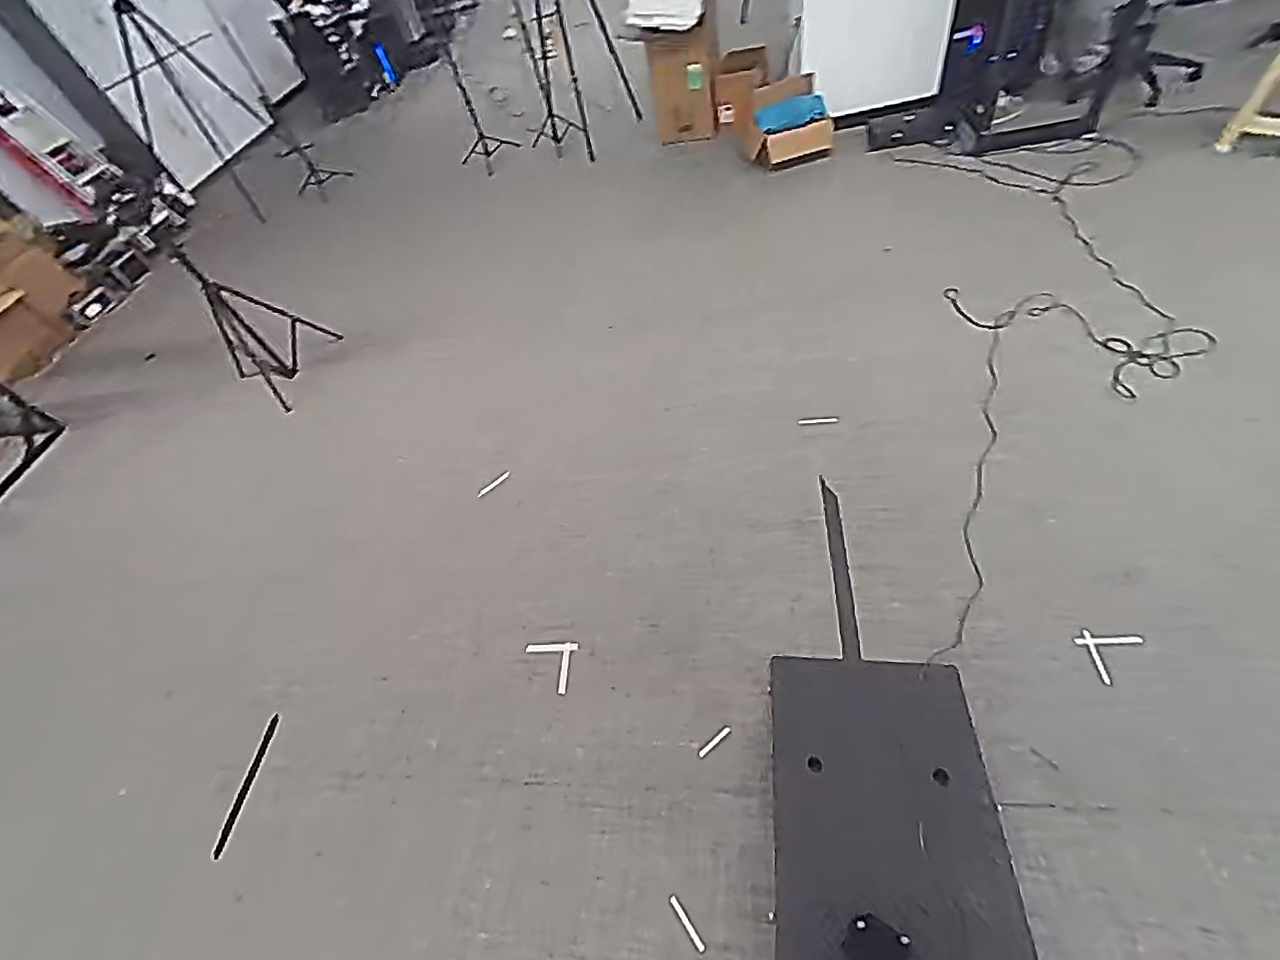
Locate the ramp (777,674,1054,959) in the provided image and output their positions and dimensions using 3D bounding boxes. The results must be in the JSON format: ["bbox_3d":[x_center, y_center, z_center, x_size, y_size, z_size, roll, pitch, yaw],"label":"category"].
[{"bbox_3d":[0.562,0.877,1.150,0.509,0.206,0.991,-6,50,14],"label":"ramp"}]
